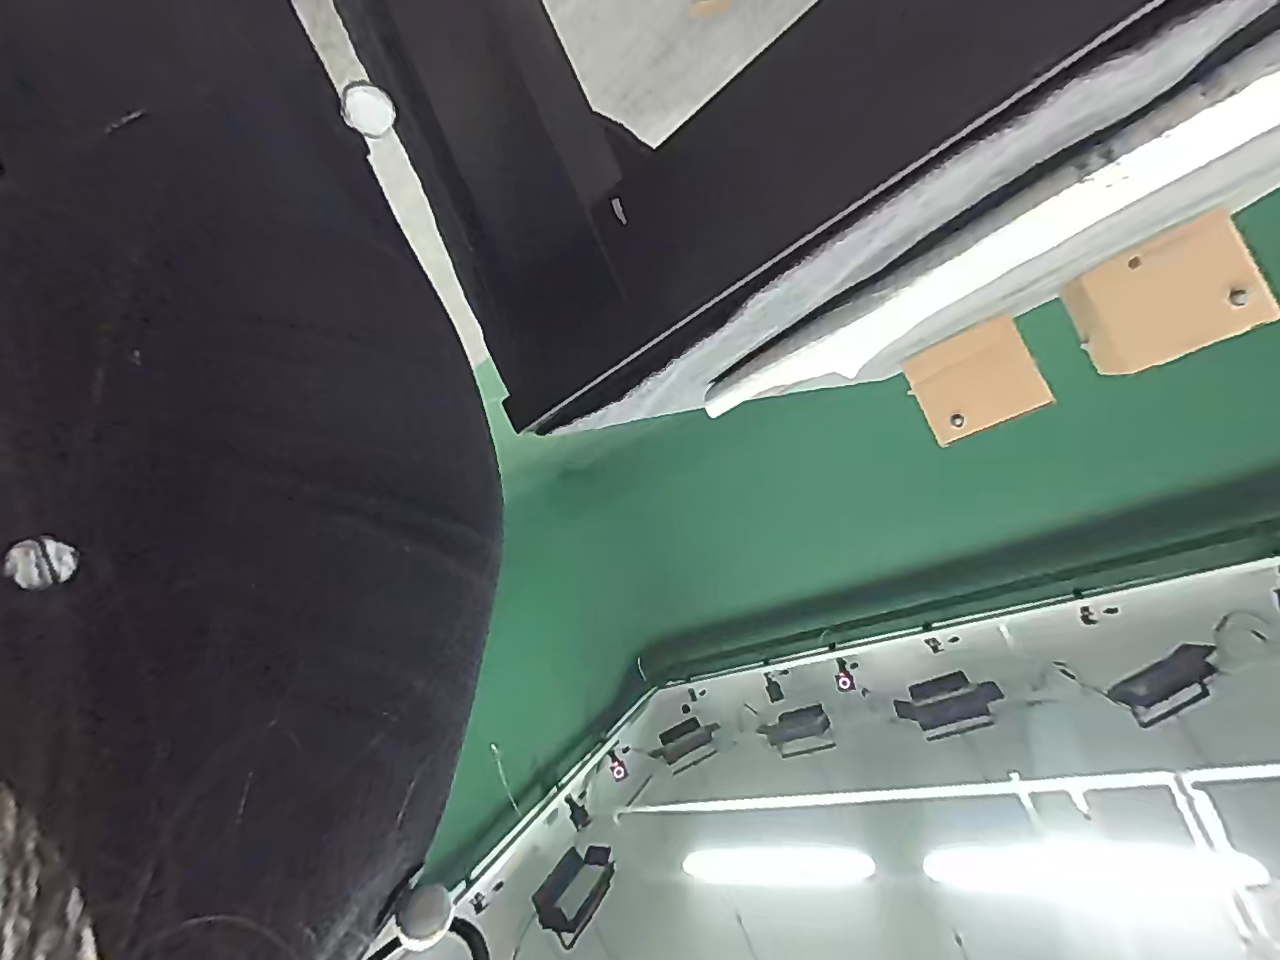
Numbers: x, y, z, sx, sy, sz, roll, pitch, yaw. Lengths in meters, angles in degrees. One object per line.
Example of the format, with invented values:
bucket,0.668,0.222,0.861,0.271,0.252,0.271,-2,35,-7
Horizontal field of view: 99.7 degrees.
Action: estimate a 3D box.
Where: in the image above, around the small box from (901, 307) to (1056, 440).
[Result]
small box,0.594,-0.190,0.970,0.179,0.176,0.168,-26,176,29
